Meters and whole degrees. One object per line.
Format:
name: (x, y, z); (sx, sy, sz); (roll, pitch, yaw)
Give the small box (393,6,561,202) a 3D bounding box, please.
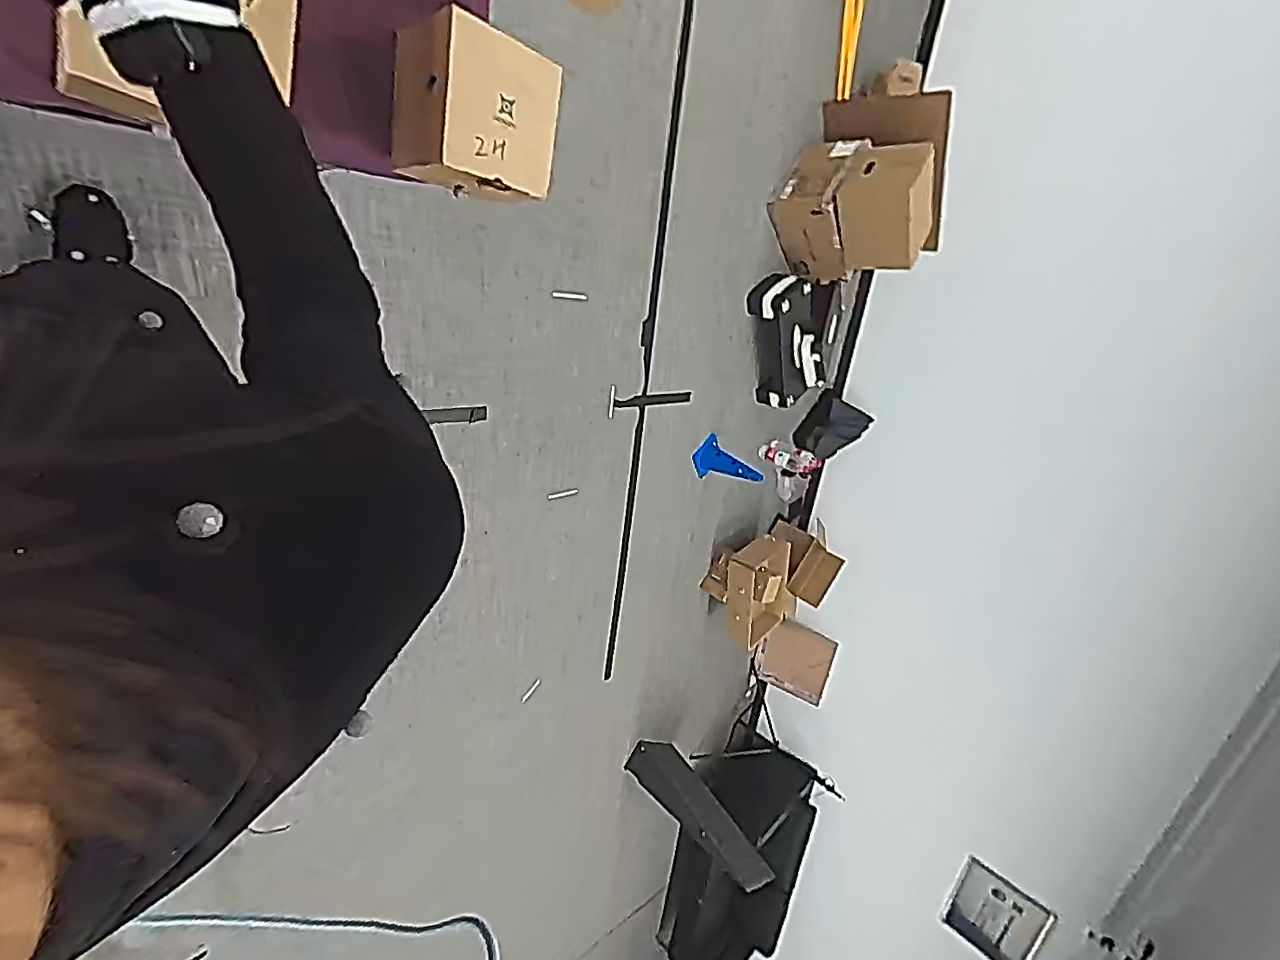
small box: (-0.238, -0.516, 0.774); (0.168, 0.176, 0.179); (-6, 113, -45)
